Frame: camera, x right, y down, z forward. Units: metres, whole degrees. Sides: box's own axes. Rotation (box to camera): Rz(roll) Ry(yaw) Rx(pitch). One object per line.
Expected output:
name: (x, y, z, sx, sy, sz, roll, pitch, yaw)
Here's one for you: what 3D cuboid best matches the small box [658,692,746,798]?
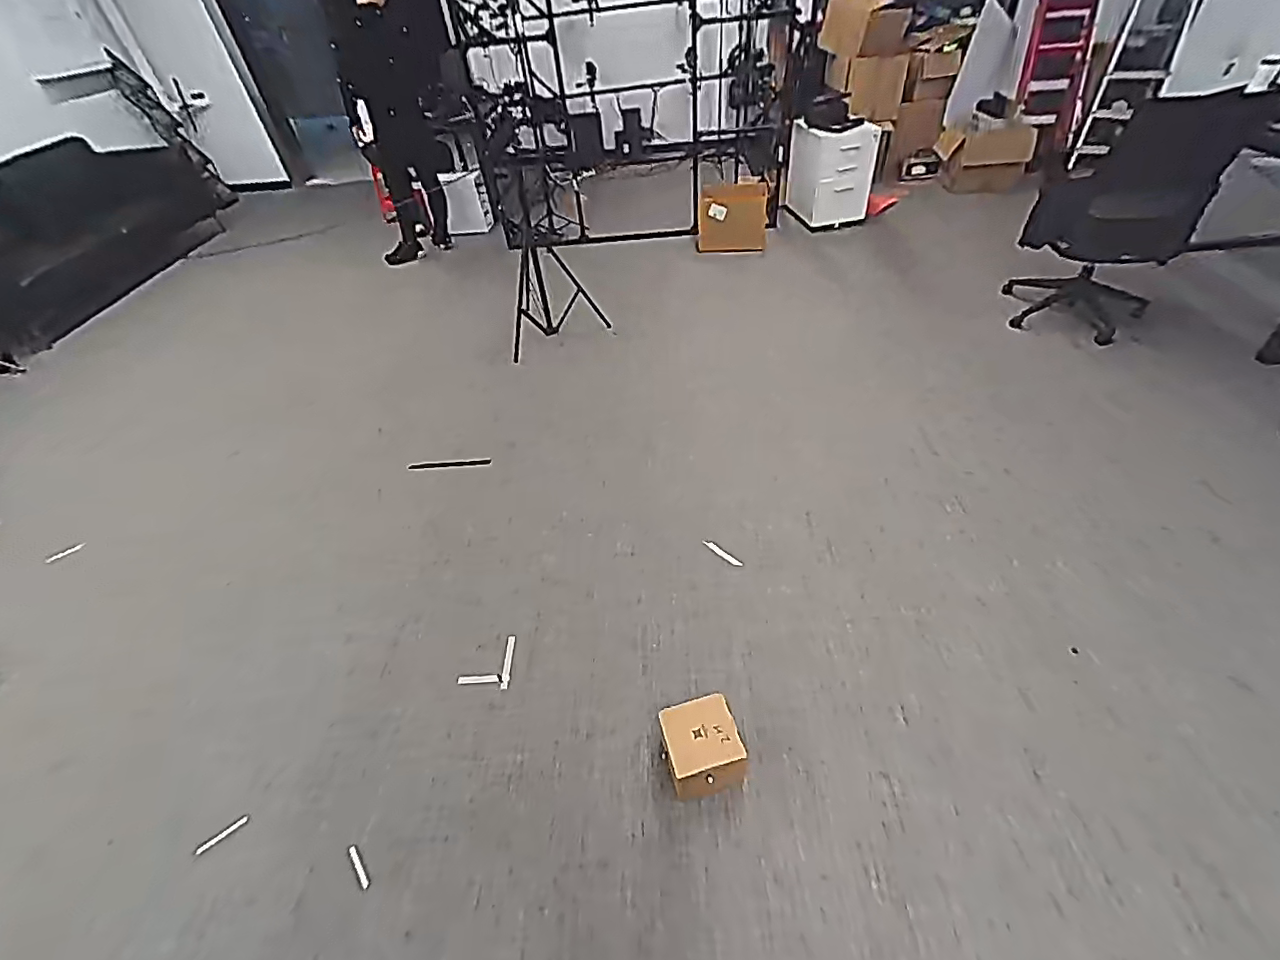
small box: (0.154, 0.667, 1.354, 0.179, 0.176, 0.168, -14, 44, -8)
